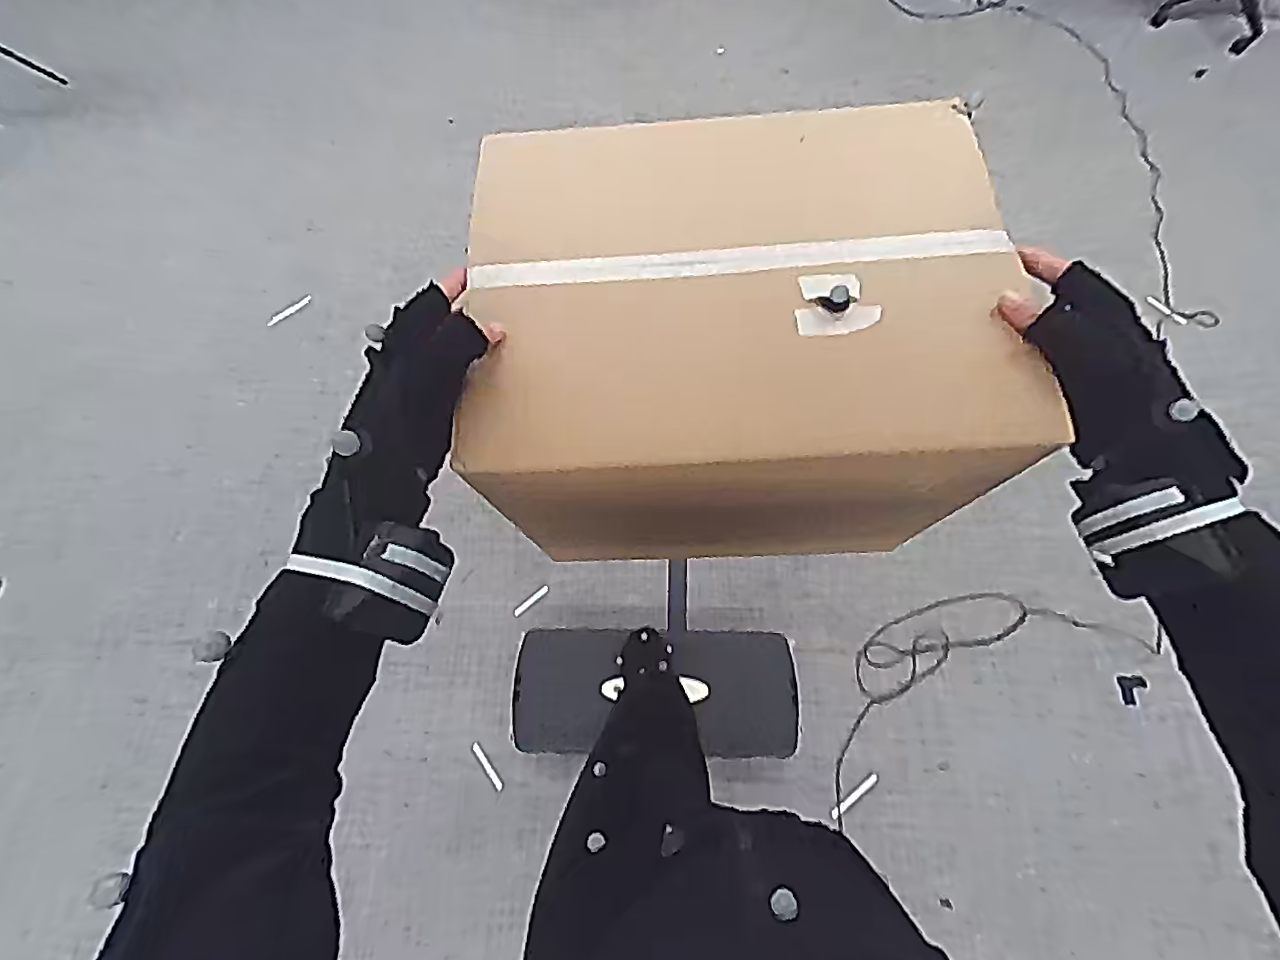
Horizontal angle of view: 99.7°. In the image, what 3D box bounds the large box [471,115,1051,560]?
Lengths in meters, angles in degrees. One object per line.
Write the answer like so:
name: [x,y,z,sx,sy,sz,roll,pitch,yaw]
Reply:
large box: [0.078,-0.109,0.558,0.408,0.320,0.320,-3,70,2]
